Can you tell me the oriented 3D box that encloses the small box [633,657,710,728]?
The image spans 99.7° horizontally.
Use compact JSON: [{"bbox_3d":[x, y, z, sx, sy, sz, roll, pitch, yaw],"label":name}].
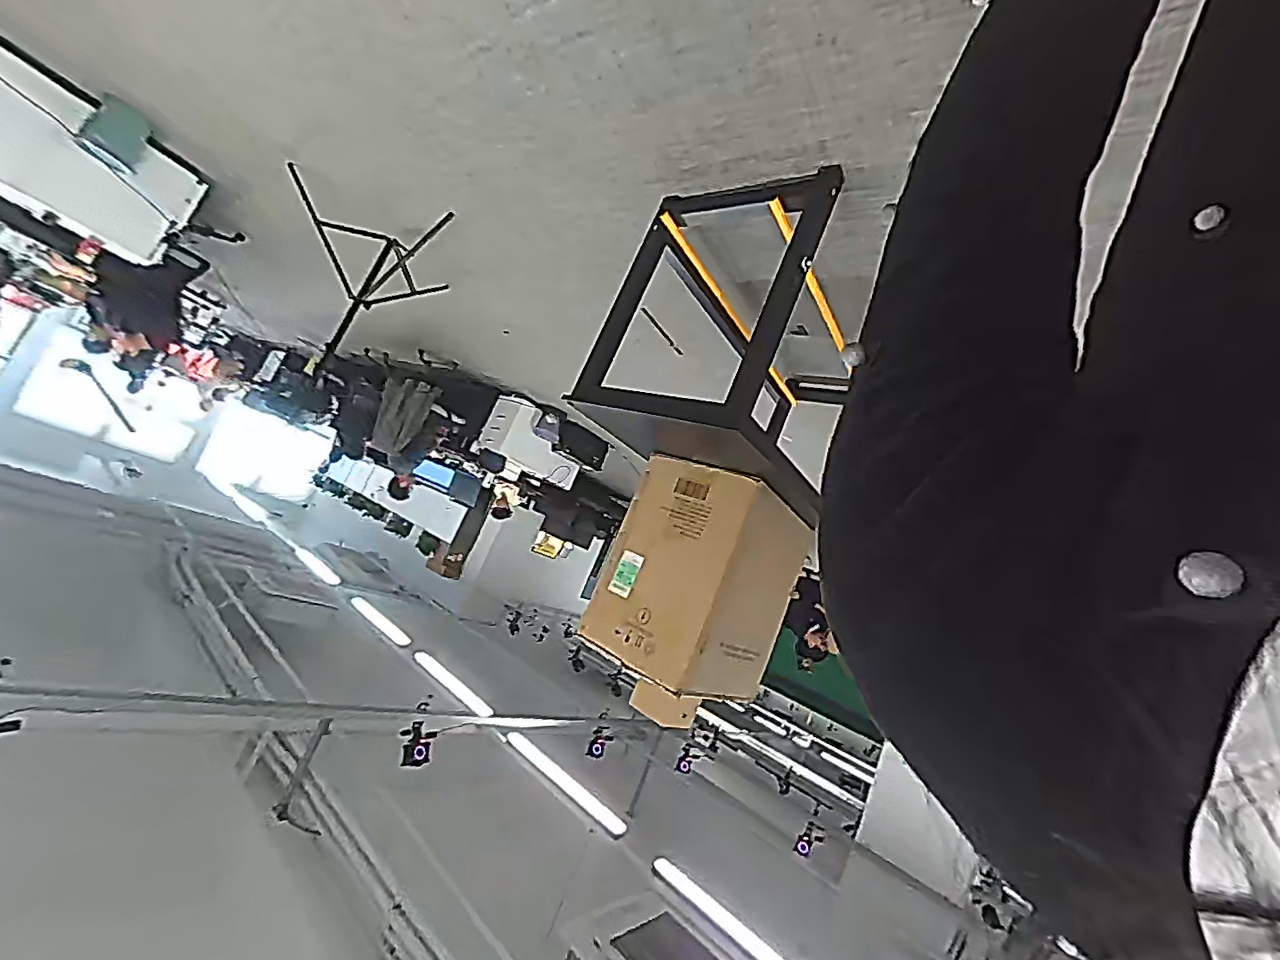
[{"bbox_3d":[0.115,0.732,1.865,0.168,0.176,0.179,18,168,40],"label":"small box"}]
